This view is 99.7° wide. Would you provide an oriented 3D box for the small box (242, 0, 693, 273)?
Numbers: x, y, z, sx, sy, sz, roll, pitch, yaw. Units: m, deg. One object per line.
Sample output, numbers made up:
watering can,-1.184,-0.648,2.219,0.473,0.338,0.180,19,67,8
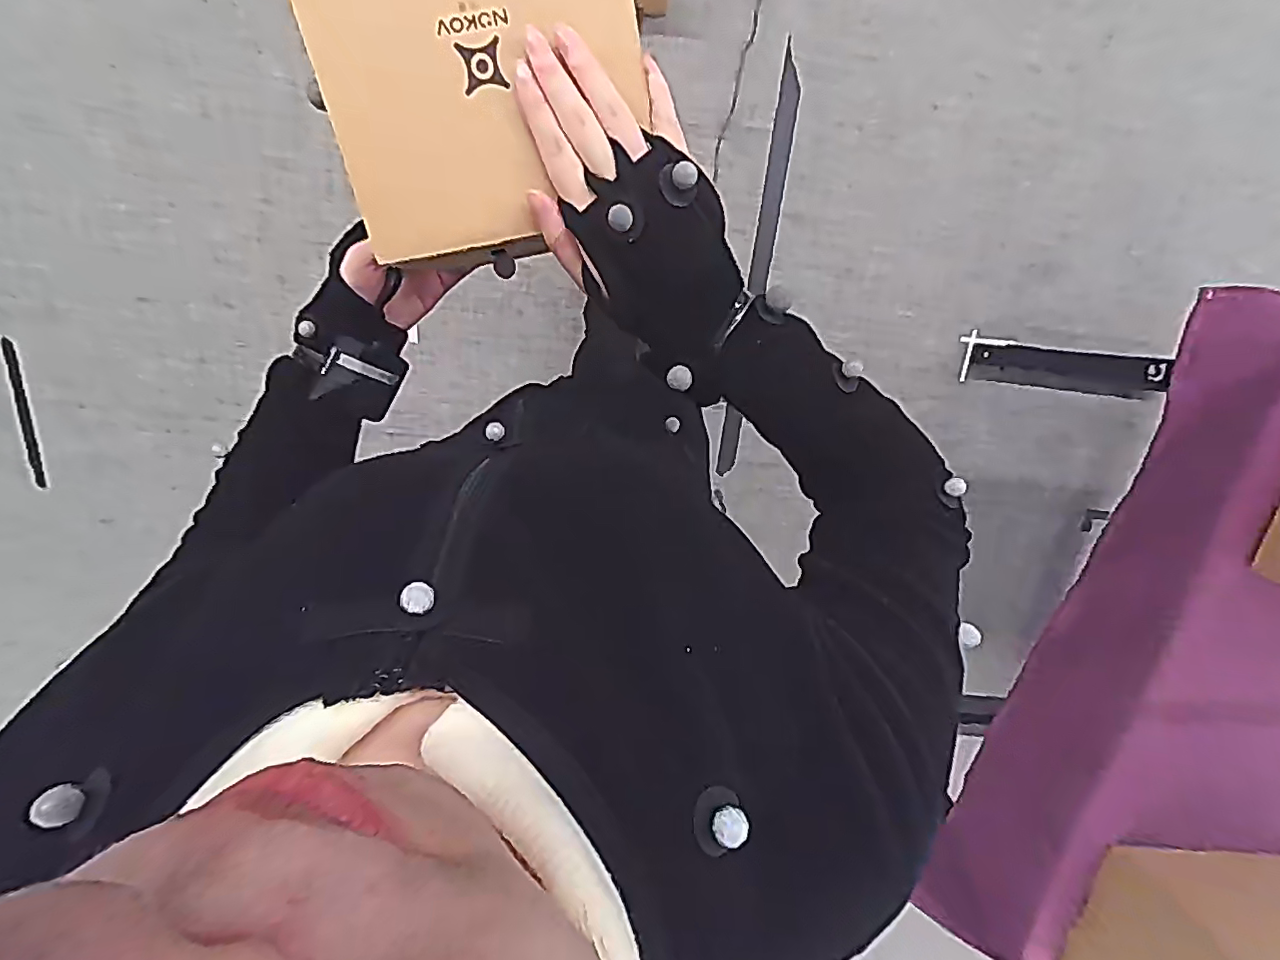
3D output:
small box,-0.084,-0.245,0.307,0.179,0.176,0.168,-12,91,16
